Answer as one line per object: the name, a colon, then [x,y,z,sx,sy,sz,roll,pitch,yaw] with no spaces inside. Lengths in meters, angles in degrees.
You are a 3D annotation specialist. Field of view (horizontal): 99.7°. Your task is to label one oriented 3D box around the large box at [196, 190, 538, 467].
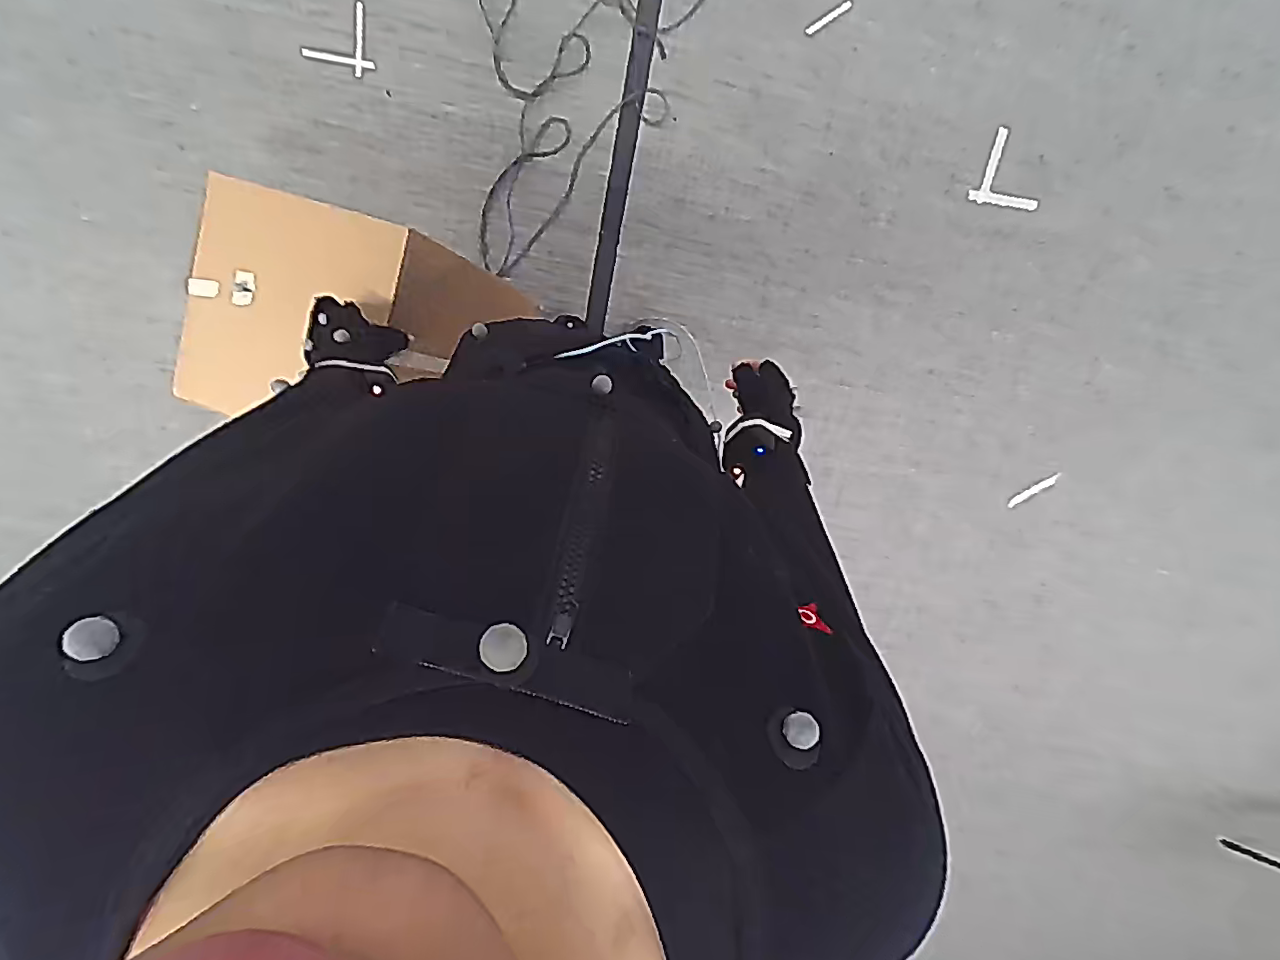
large box: [-0.423,-0.229,0.916,0.320,0.408,0.320,20,99,9]
